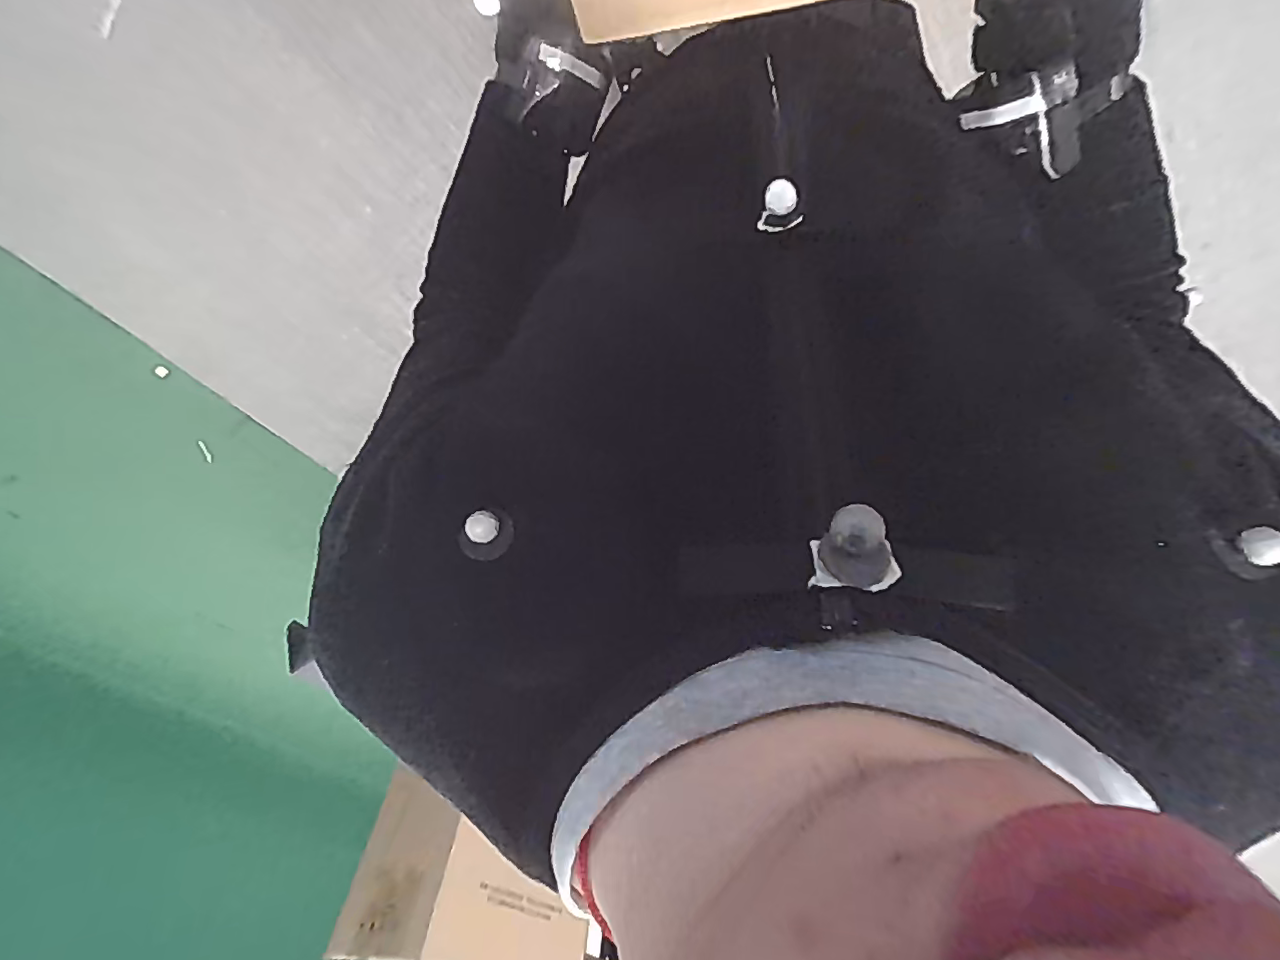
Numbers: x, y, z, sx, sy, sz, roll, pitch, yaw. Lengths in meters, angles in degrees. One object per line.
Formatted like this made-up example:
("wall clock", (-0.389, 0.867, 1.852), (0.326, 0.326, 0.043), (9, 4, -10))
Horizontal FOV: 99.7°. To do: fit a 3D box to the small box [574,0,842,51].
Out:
("small box", (0.045, -0.344, 0.239), (0.179, 0.176, 0.168), (2, 155, 18))
